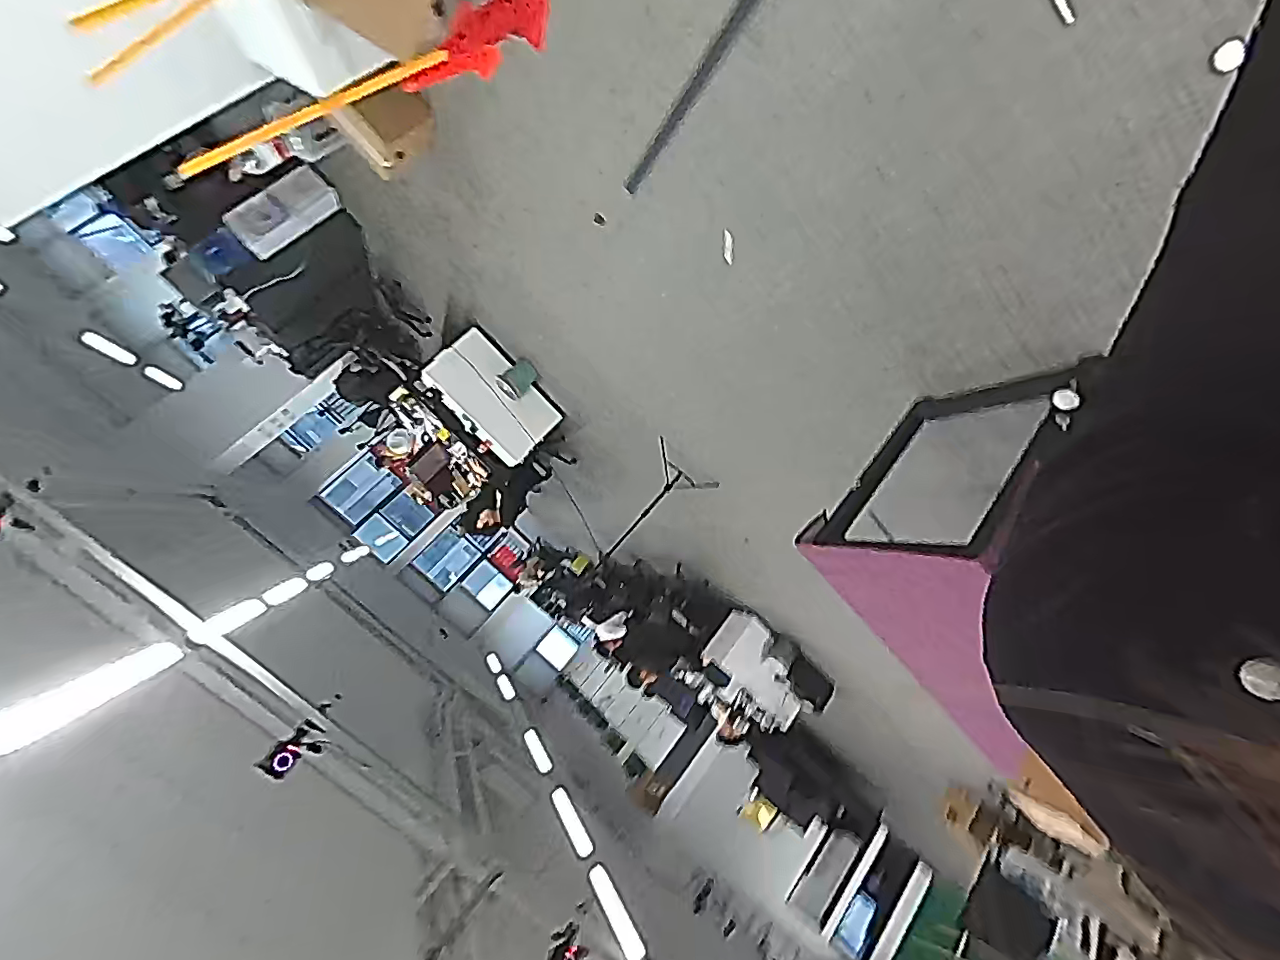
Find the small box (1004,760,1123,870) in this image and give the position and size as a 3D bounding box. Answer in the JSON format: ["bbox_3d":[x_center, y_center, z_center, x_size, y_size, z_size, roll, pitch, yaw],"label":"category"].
[{"bbox_3d":[1.180,0.917,1.505,0.168,0.176,0.179,45,162,-5],"label":"small box"}]
